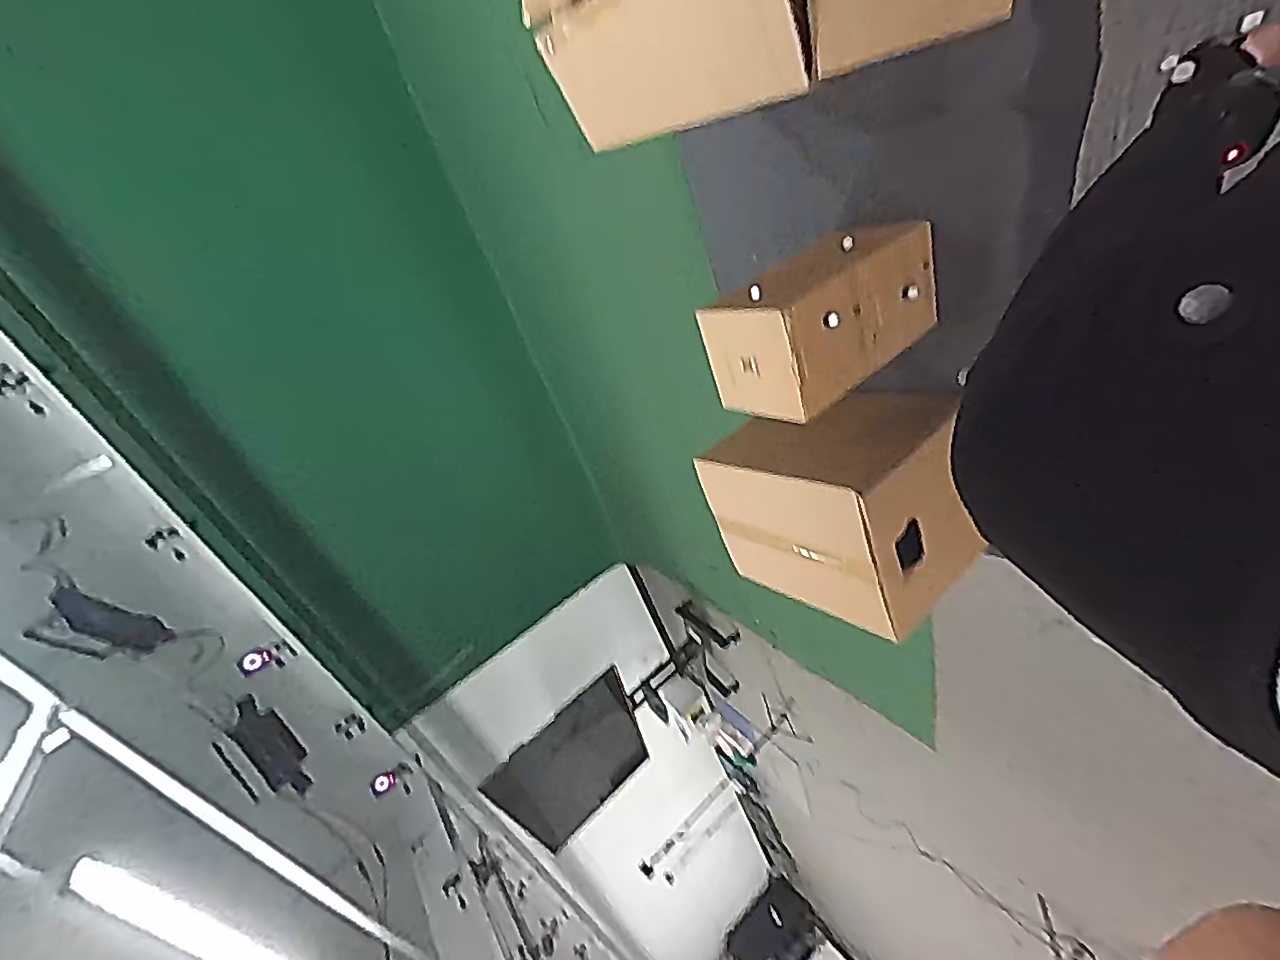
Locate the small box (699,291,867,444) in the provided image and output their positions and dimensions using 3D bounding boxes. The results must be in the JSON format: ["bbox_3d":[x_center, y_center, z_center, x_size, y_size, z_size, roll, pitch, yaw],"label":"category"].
[{"bbox_3d":[0.226,-0.178,0.829,0.179,0.176,0.168,23,142,54],"label":"small box"}]
